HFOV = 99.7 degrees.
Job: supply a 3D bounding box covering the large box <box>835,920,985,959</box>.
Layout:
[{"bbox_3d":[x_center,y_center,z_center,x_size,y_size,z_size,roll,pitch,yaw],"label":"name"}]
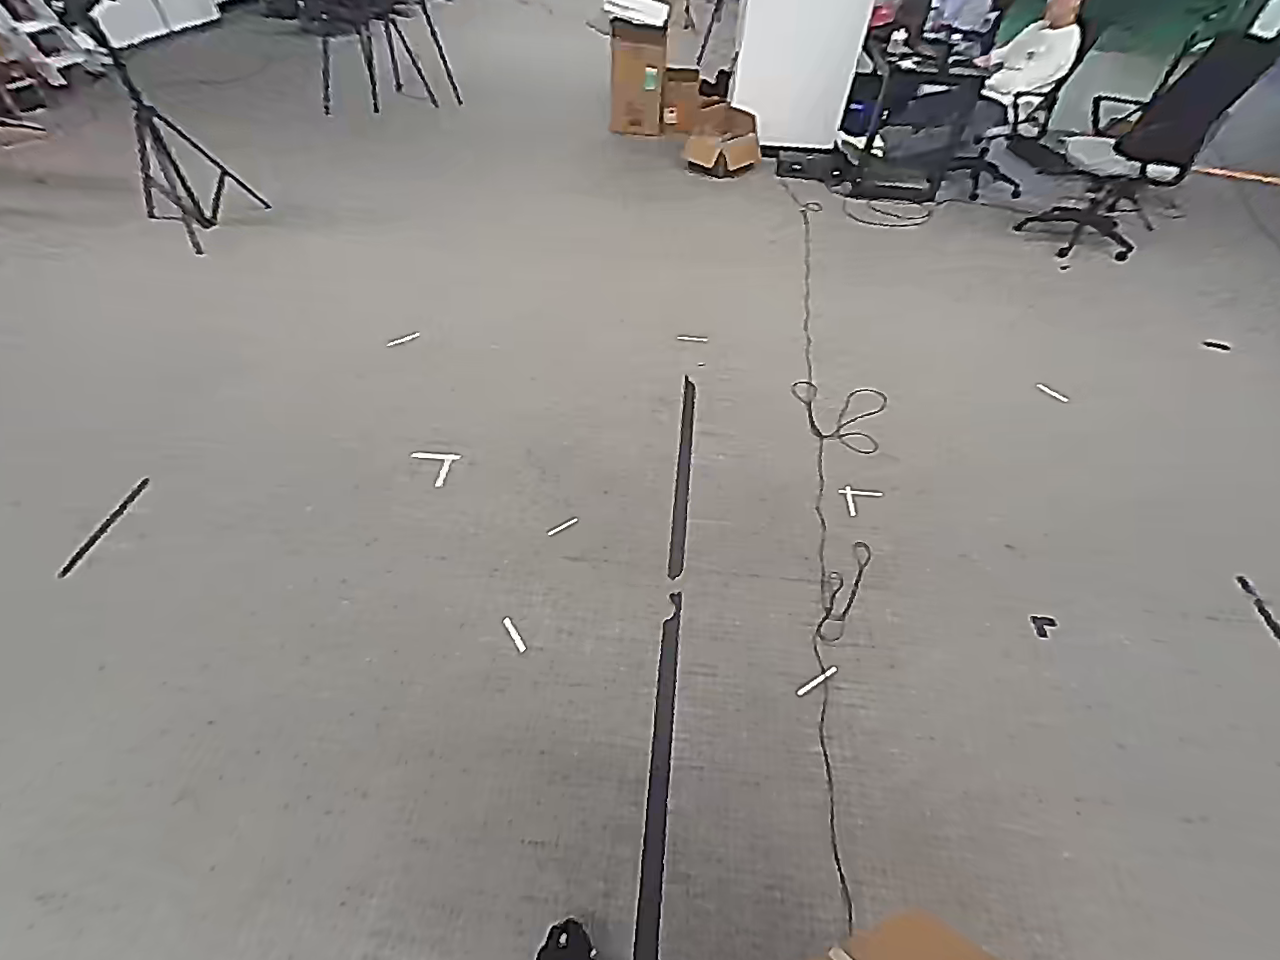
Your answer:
[{"bbox_3d":[0.376,0.795,0.590,0.320,0.408,0.320,-13,74,-15],"label":"large box"}]
